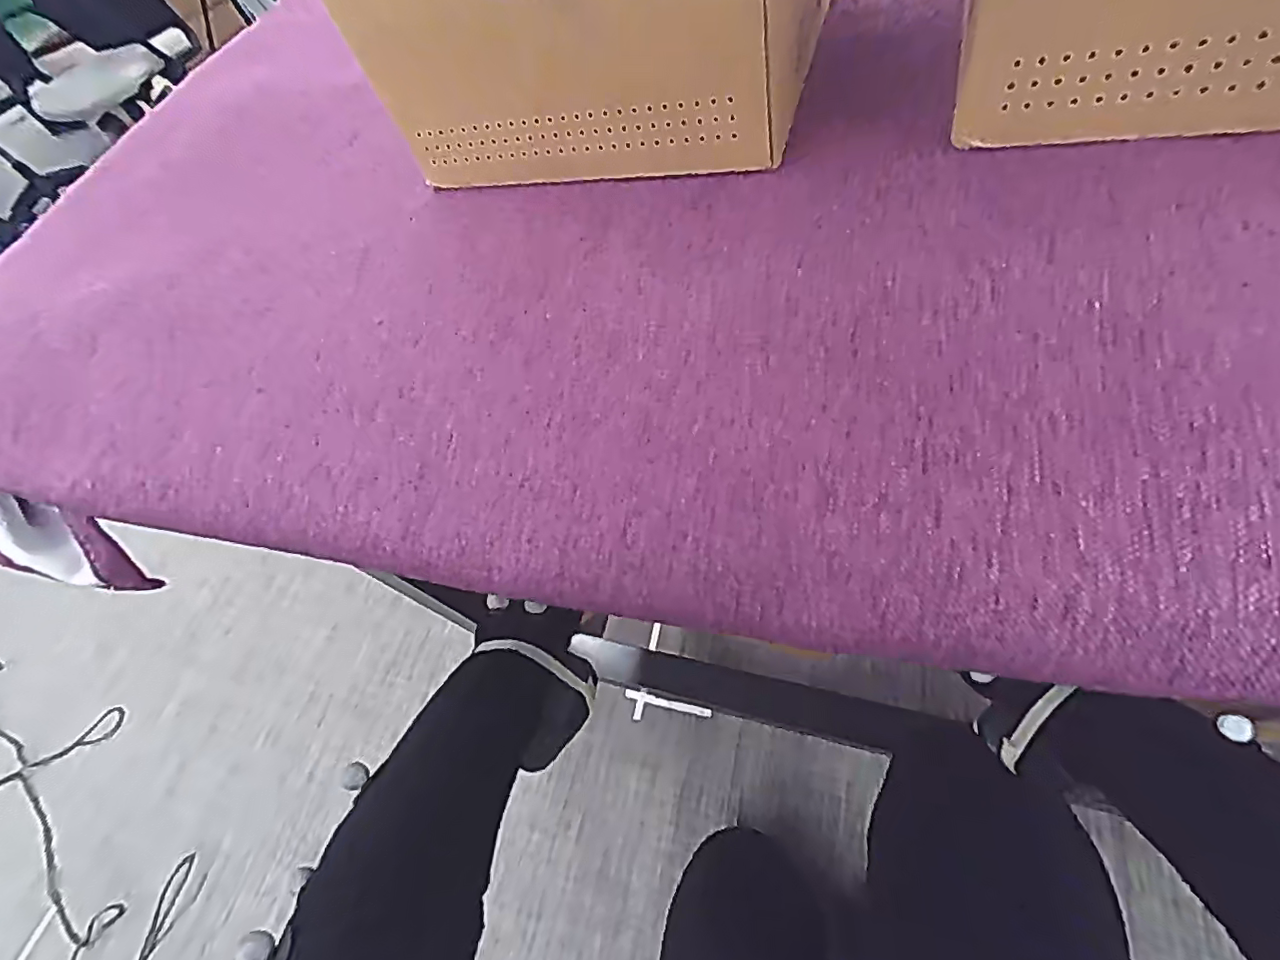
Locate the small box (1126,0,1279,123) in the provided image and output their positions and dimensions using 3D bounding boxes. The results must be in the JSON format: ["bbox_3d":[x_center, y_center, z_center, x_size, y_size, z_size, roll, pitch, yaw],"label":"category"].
[{"bbox_3d":[0.244,-0.221,0.105,0.179,0.176,0.168,-12,96,14],"label":"small box"}]
